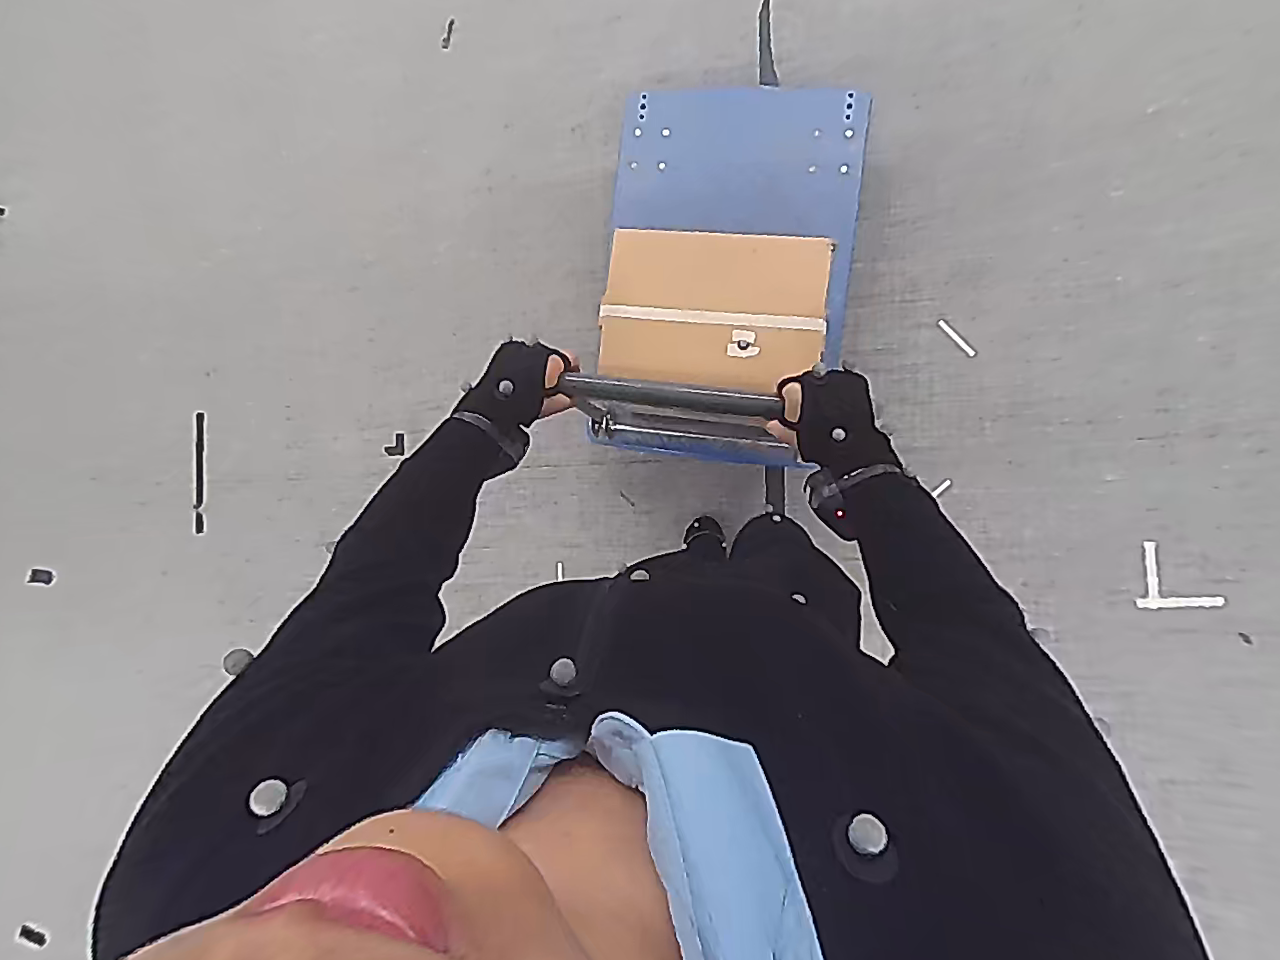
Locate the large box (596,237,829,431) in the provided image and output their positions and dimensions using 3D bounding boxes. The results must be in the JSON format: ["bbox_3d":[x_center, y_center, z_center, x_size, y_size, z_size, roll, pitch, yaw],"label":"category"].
[{"bbox_3d":[0.147,-0.285,1.137,0.408,0.320,0.320,7,92,9],"label":"large box"}]
